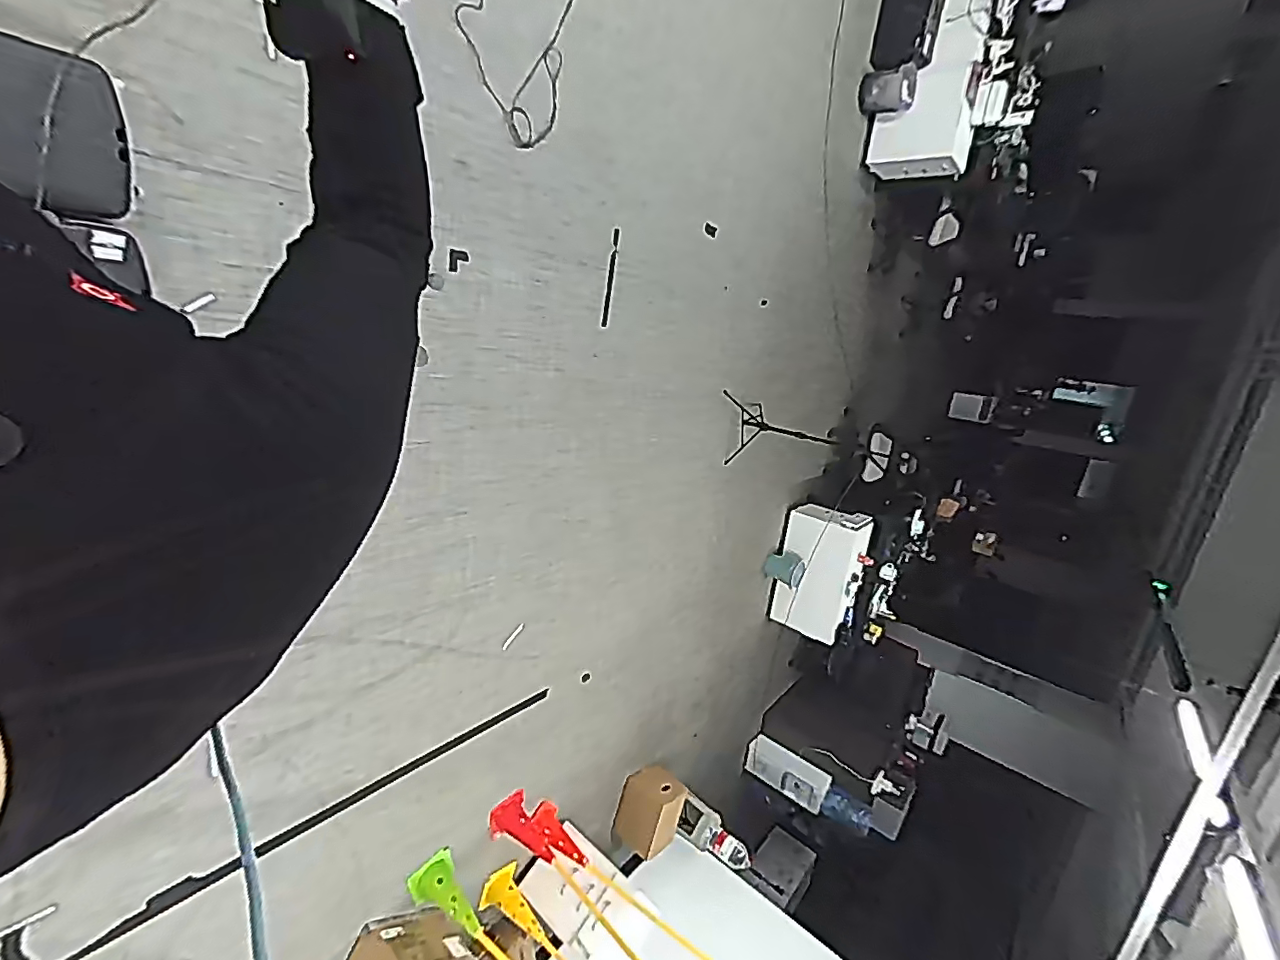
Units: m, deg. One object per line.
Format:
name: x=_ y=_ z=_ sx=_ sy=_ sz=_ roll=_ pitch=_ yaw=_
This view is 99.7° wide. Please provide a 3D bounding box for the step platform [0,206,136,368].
step platform: x=-1.299 y=-0.334 z=0.891 sx=0.684 sy=0.204 sz=0.286 roll=-13 pitch=115 yaw=-48
